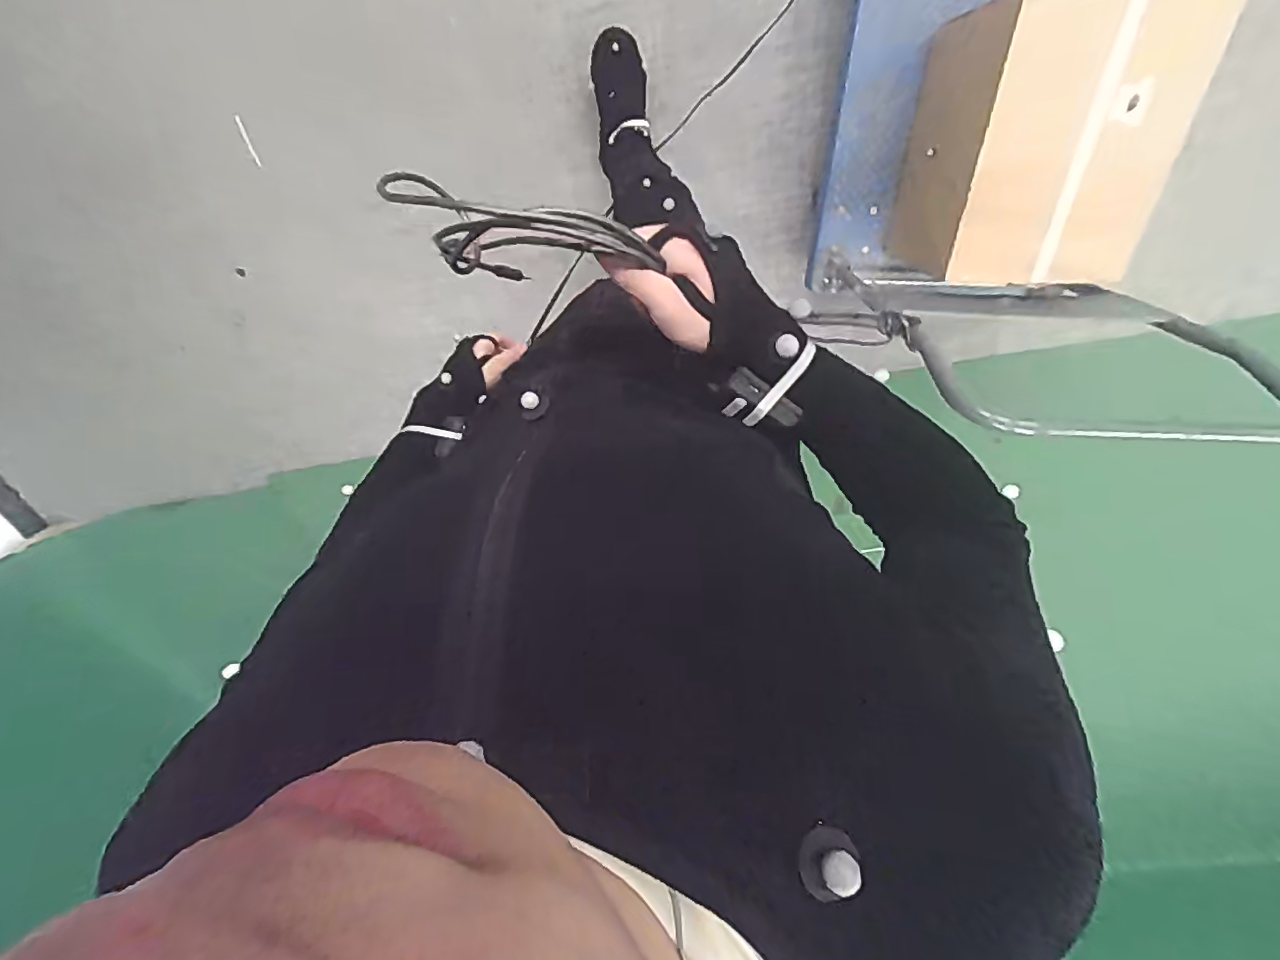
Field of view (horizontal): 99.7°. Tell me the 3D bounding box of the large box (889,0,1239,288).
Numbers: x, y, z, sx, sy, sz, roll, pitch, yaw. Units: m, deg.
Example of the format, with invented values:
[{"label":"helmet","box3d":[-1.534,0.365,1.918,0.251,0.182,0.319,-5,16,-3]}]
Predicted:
[{"label":"large box","box3d":[0.701,-0.588,0.992,0.320,0.320,0.408,1,121,1]}]
